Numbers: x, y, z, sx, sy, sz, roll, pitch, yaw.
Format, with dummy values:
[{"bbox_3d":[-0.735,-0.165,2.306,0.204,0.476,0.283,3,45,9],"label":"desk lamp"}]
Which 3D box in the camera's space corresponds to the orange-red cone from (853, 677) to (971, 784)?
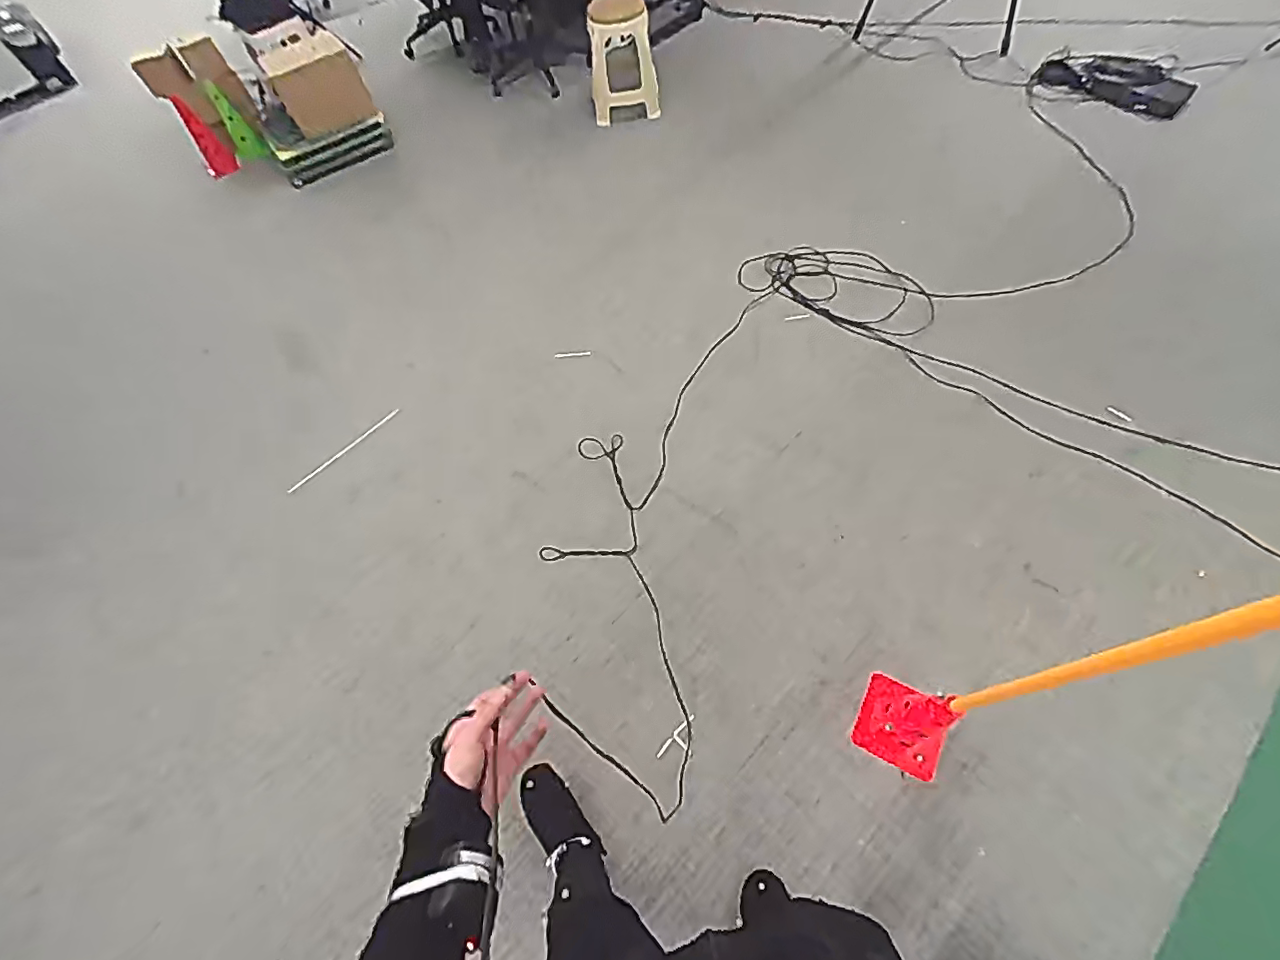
[{"bbox_3d":[0.644,0.537,1.213,0.198,0.360,0.199,25,64,18],"label":"orange-red cone"}]
